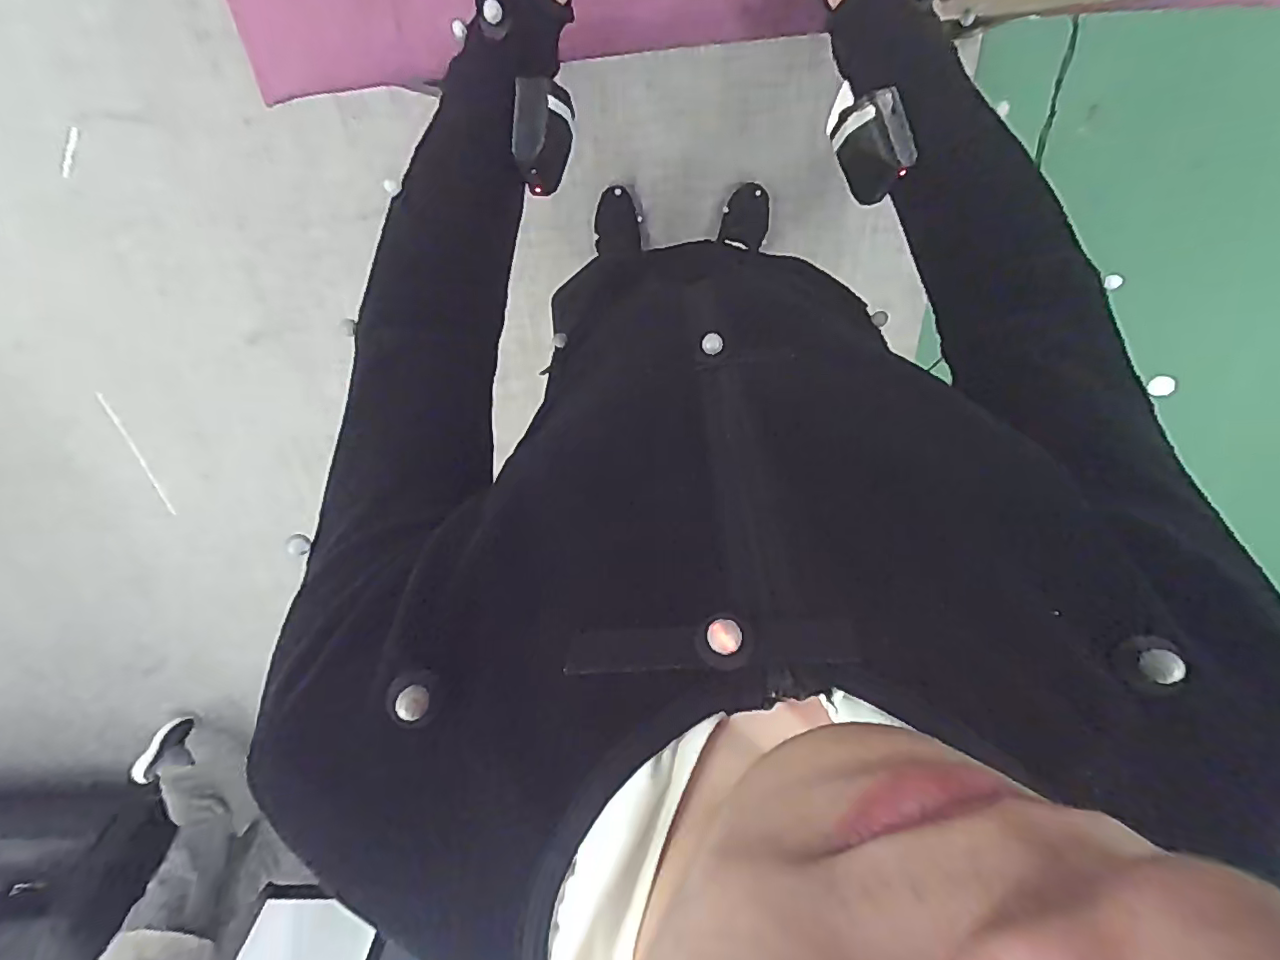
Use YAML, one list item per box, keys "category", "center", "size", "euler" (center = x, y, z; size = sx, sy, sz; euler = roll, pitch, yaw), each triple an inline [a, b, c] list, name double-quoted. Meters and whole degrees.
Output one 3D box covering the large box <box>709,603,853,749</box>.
- category: "large box"
  center: [0.522, 0.749, 2.073]
  size: [0.408, 0.320, 0.320]
  euler: [-33, 116, 19]
